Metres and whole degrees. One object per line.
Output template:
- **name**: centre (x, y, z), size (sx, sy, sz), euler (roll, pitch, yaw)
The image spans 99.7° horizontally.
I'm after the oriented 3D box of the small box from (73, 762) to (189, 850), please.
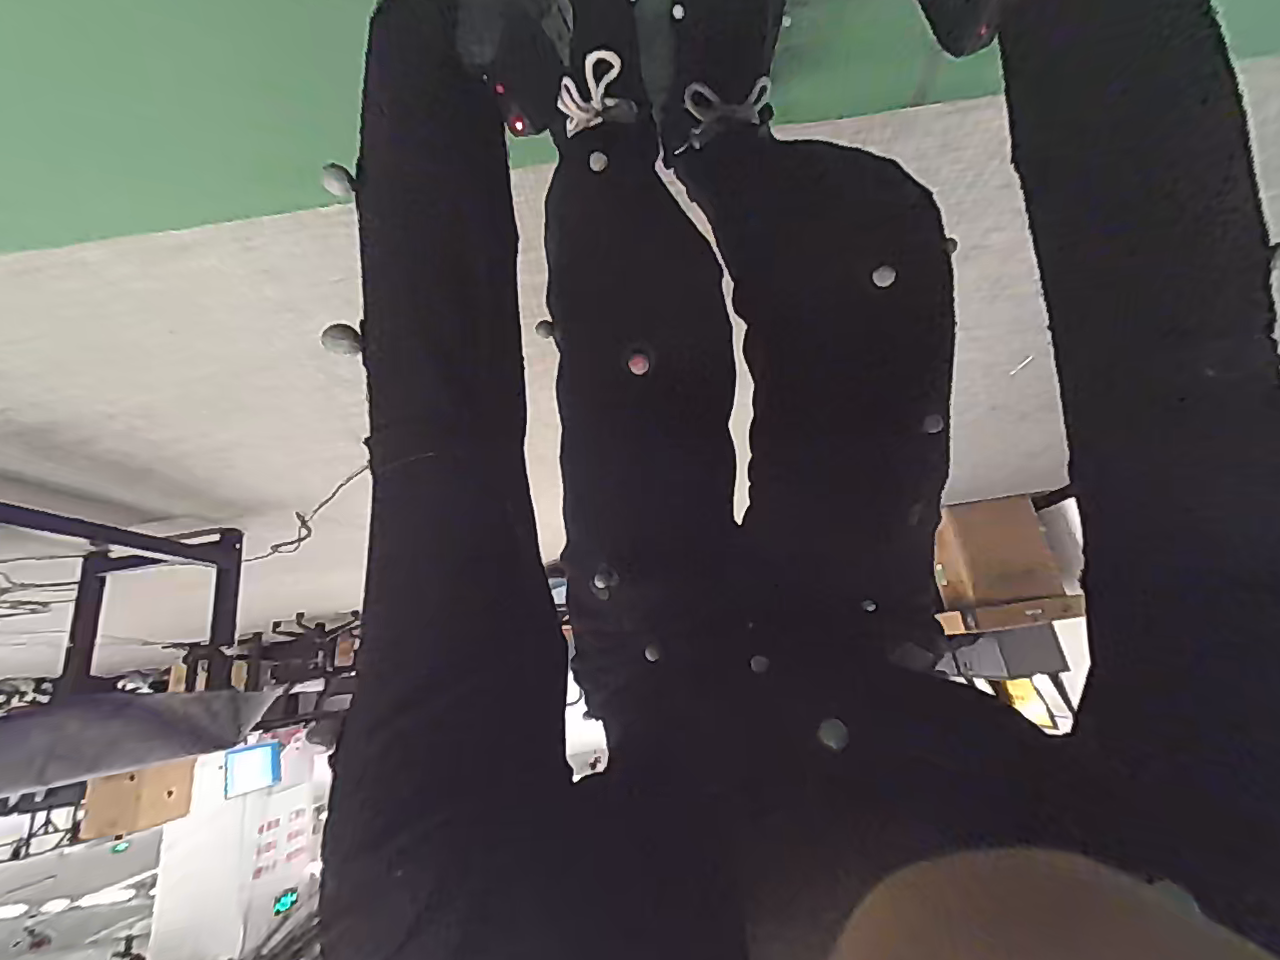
- **small box**: centre (-1.457, 0.932, 1.559), size (0.168, 0.176, 0.179), euler (-9, 162, 2)
